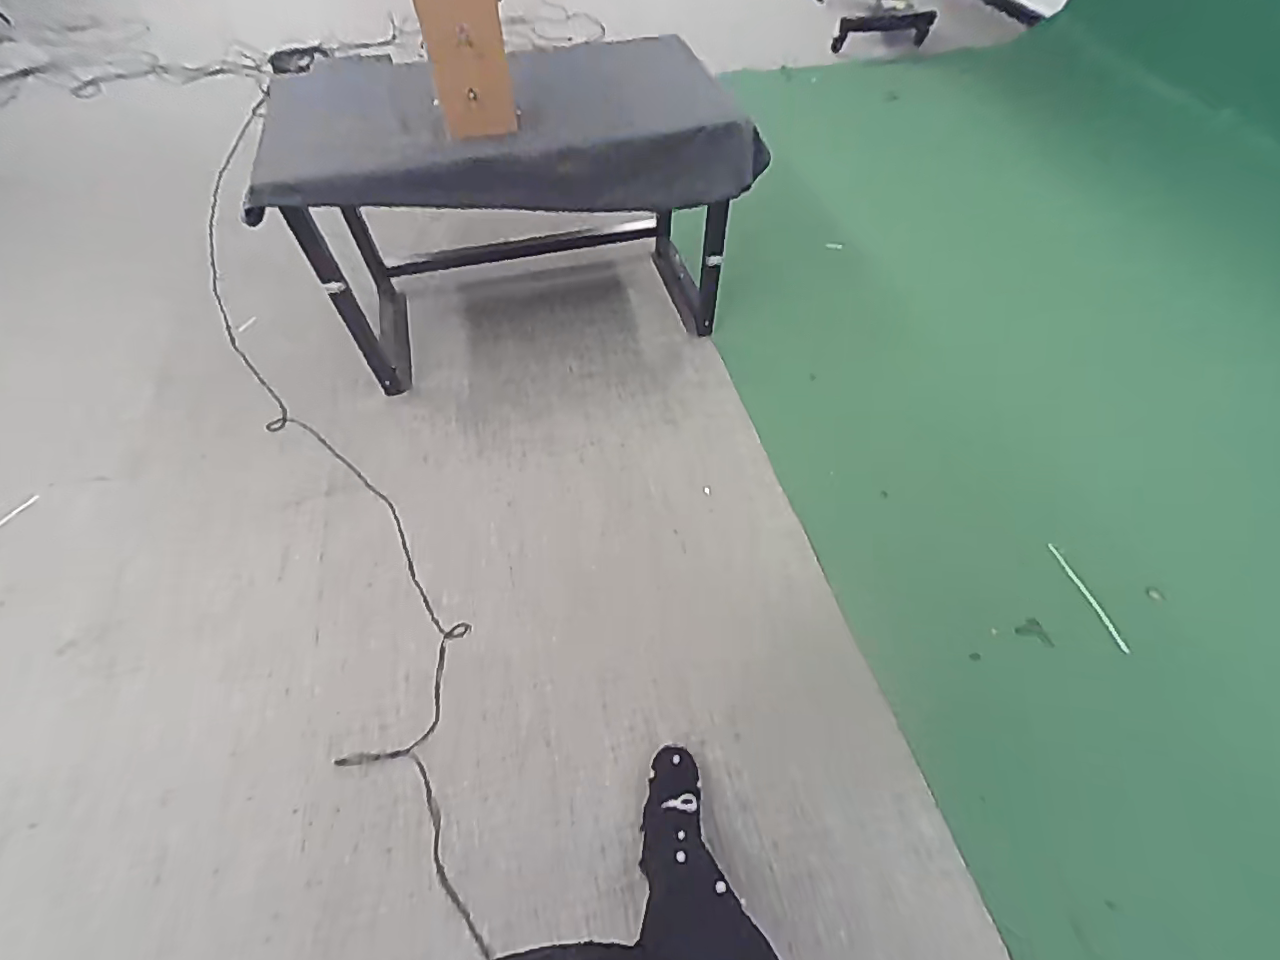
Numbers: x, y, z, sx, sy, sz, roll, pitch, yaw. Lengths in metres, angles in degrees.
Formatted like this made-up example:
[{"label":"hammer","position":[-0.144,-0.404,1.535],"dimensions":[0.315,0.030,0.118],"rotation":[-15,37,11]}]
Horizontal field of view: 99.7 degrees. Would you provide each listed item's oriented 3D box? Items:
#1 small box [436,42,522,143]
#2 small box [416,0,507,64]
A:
[{"label":"small box","position":[-0.395,-0.960,1.328],"dimensions":[0.179,0.176,0.168],"rotation":[-14,58,-10]},{"label":"small box","position":[-0.398,-1.054,1.194],"dimensions":[0.179,0.176,0.168],"rotation":[-12,57,-8]}]
